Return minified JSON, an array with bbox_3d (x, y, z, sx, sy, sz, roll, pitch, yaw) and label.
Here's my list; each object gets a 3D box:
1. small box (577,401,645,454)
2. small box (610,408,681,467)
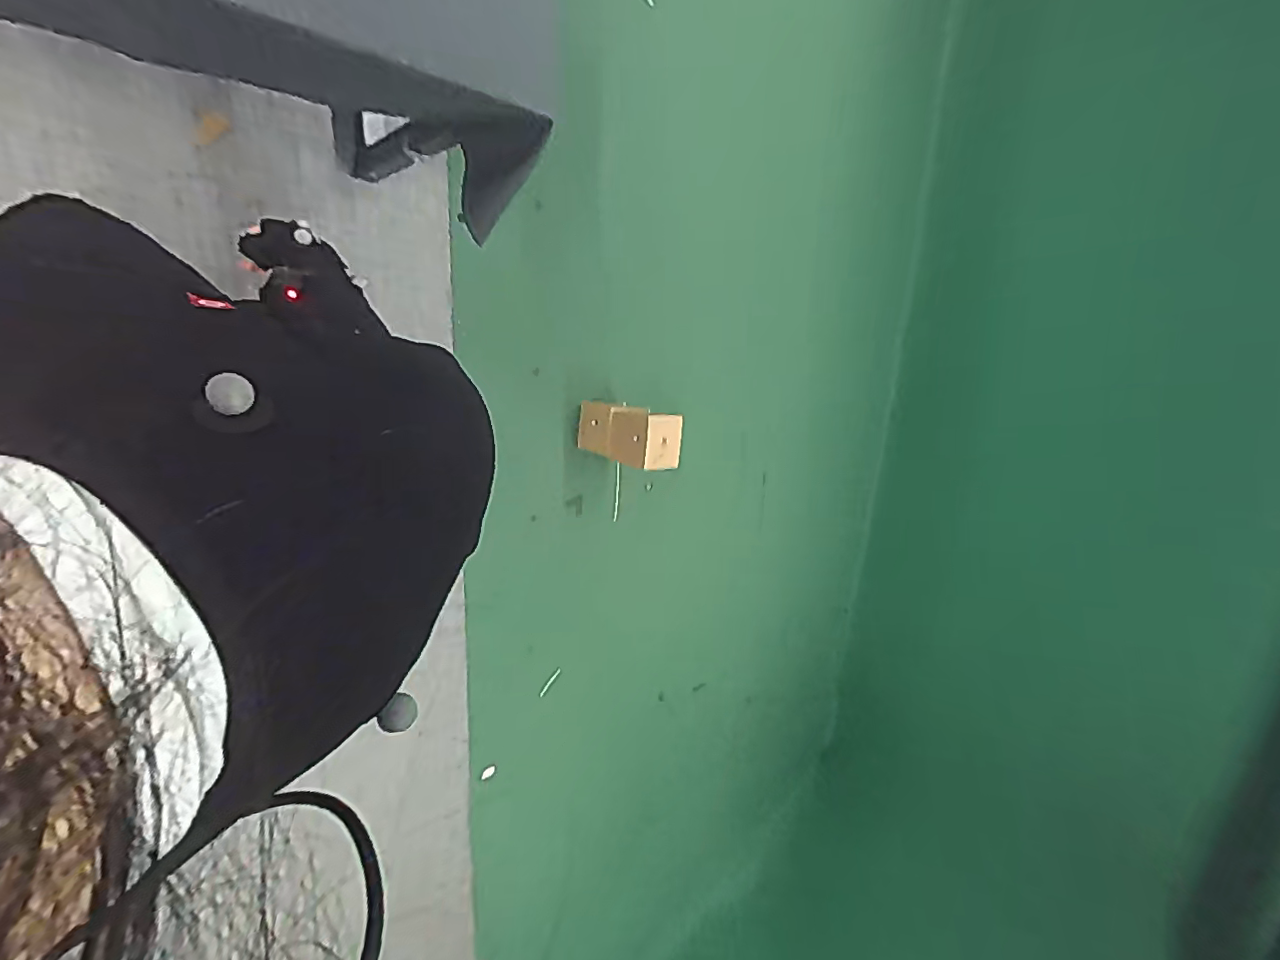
[{"bbox_3d":[-0.107,-0.187,1.917,0.179,0.176,0.168,-5,106,-45],"label":"small box"},{"bbox_3d":[0.014,-0.146,1.813,0.168,0.176,0.179,-7,107,-44],"label":"small box"}]
